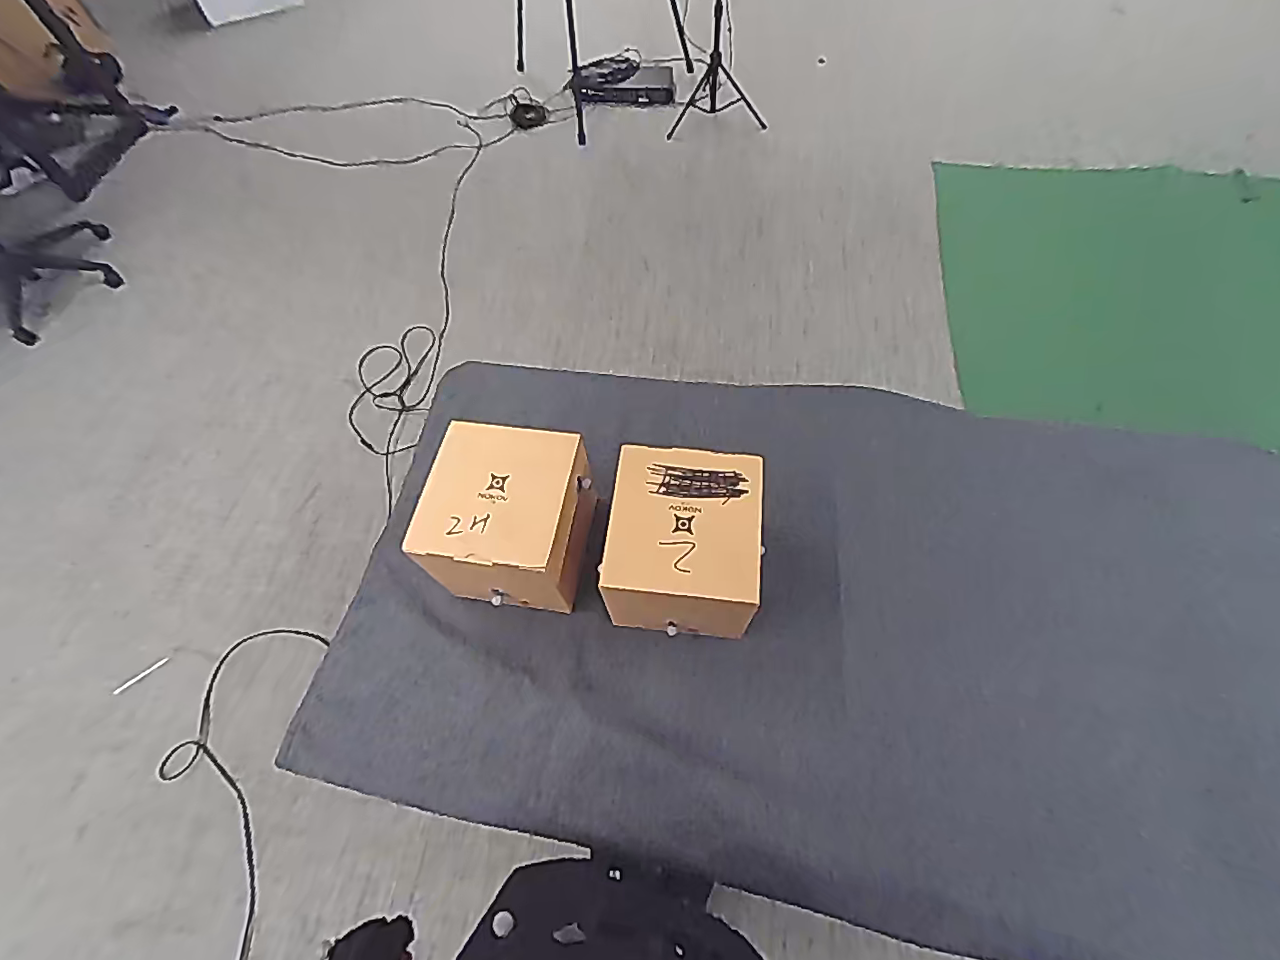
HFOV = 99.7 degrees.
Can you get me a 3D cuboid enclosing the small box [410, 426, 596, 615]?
[{"bbox_3d":[-0.156,0.056,0.689,0.168,0.176,0.179,6,61,7],"label":"small box"}]
